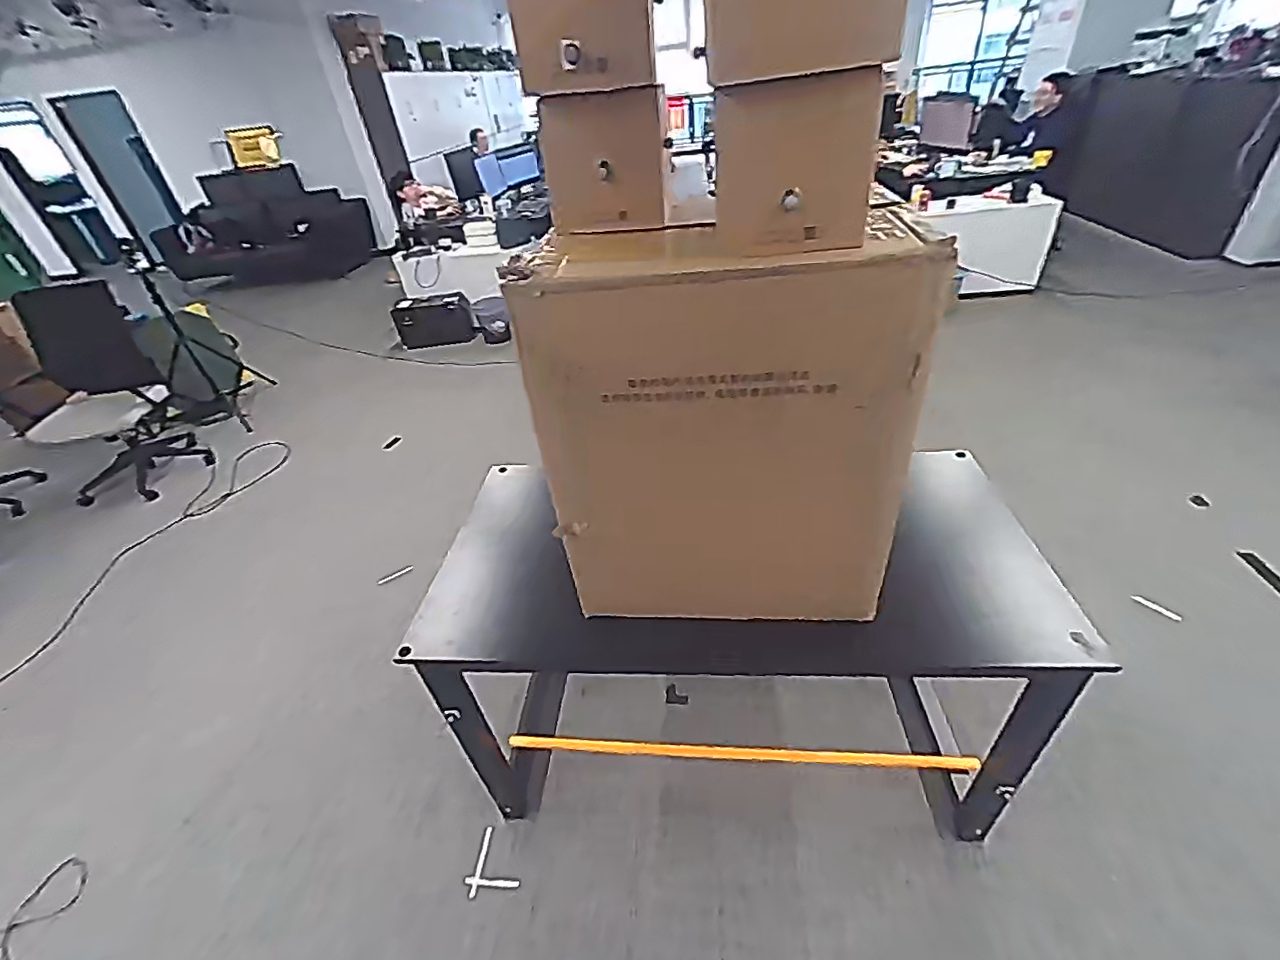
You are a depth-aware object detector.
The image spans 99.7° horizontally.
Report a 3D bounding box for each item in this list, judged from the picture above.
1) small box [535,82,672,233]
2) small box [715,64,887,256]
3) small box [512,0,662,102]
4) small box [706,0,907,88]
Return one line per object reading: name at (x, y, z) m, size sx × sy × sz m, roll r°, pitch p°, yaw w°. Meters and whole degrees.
small box at (-0.040, -0.471, 0.798) m, size 0.168 × 0.176 × 0.179 m, roll 0°, pitch 37°, yaw 7°
small box at (0.175, -0.375, 0.638) m, size 0.168 × 0.176 × 0.179 m, roll -1°, pitch 37°, yaw 10°
small box at (-0.062, -0.582, 0.675) m, size 0.168 × 0.176 × 0.179 m, roll -3°, pitch 37°, yaw 6°
small box at (0.151, -0.487, 0.516) m, size 0.179 × 0.176 × 0.168 m, roll -3°, pitch 37°, yaw 6°
